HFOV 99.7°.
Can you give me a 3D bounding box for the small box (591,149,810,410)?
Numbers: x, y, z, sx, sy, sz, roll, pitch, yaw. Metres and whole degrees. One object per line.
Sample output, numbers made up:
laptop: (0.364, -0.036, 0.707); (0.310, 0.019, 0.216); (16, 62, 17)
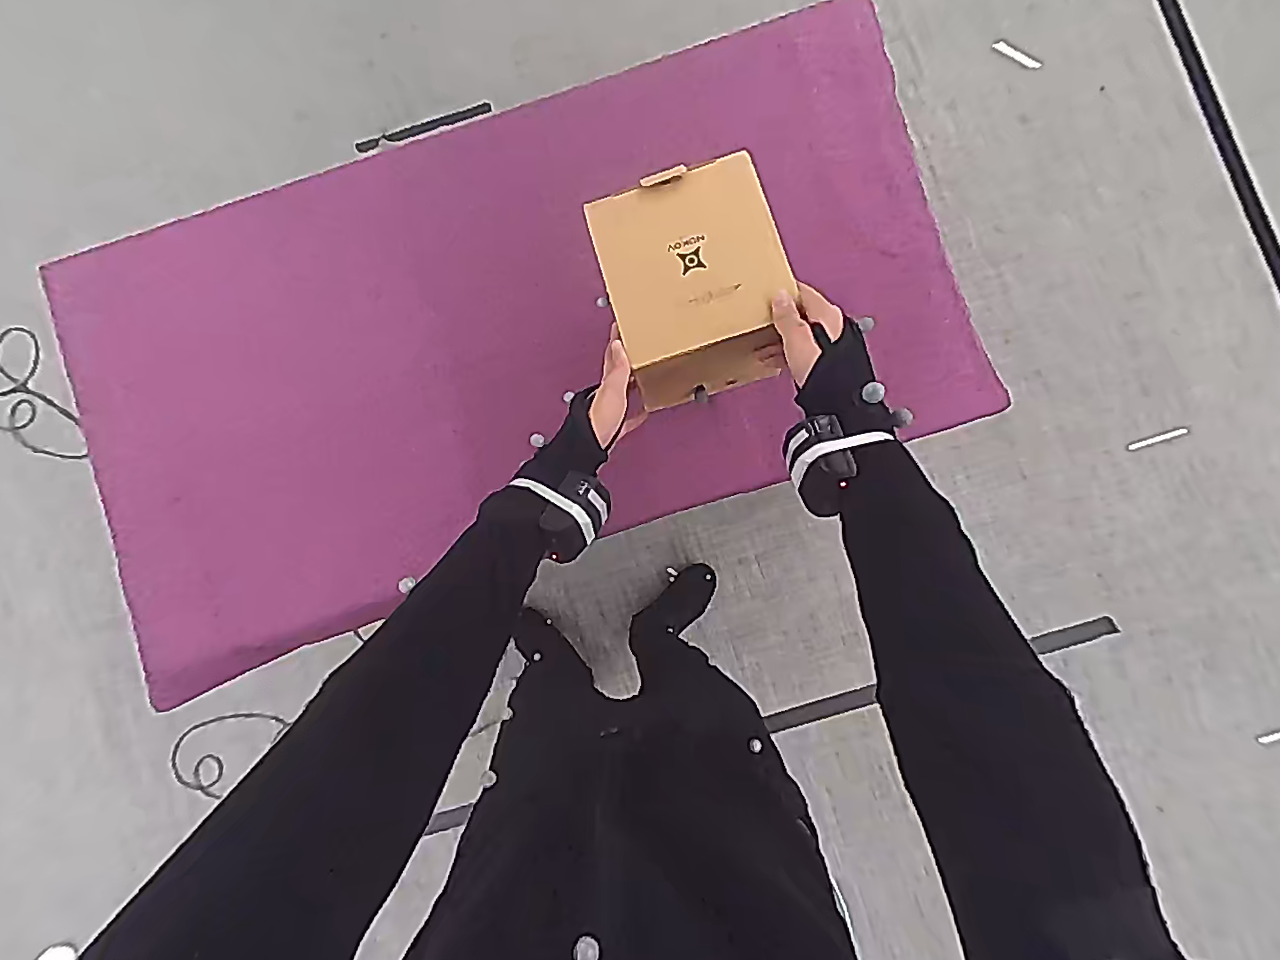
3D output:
small box: (0.058, -0.193, 0.570); (0.168, 0.176, 0.179); (-16, 81, 4)
